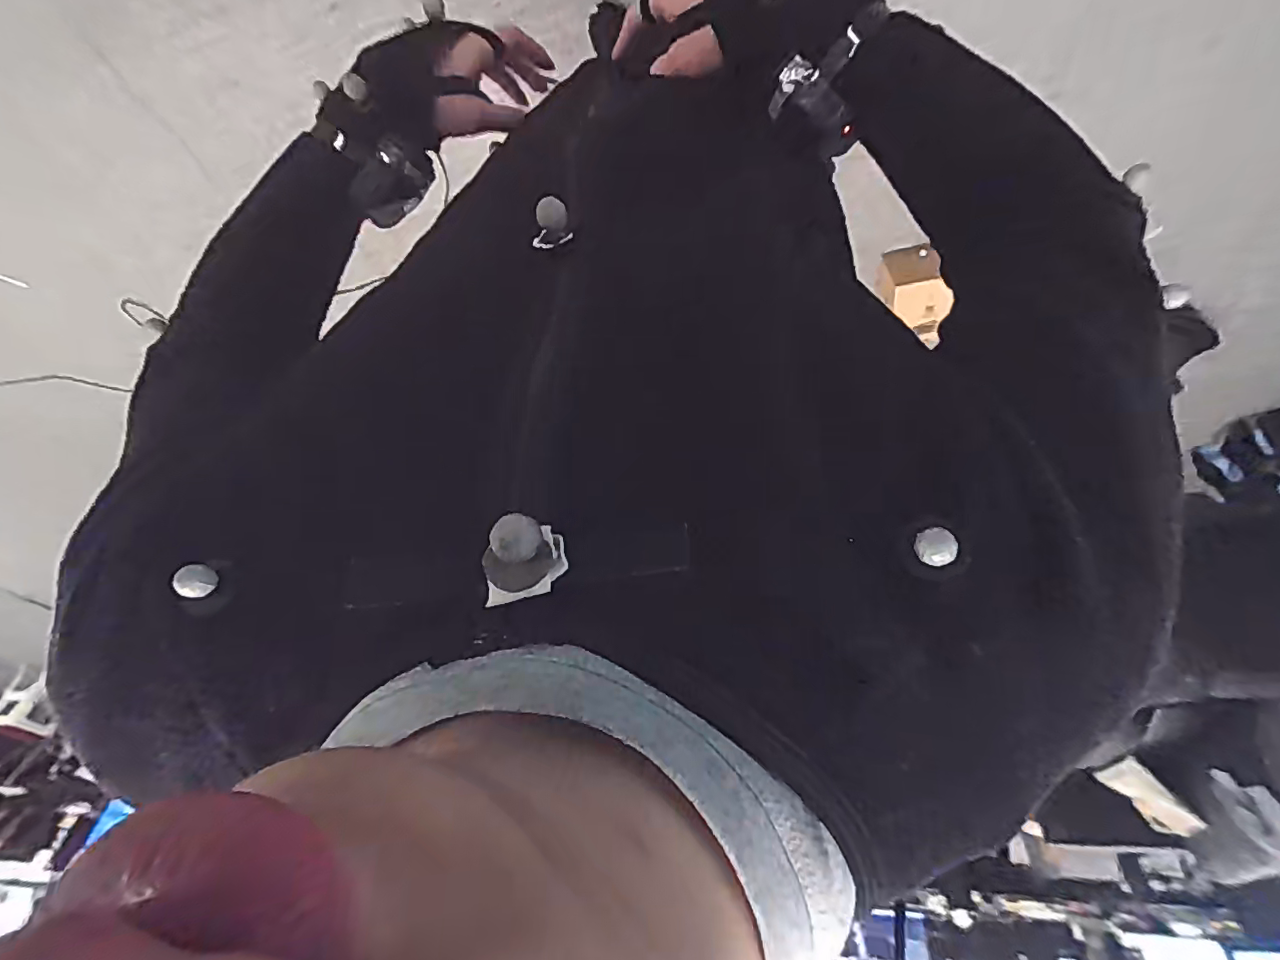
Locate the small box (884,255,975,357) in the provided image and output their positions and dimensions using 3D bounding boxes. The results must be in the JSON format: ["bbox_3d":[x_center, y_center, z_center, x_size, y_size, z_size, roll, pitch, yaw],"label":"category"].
[{"bbox_3d":[0.731,-0.444,1.383,0.168,0.176,0.179,-7,134,16],"label":"small box"}]
